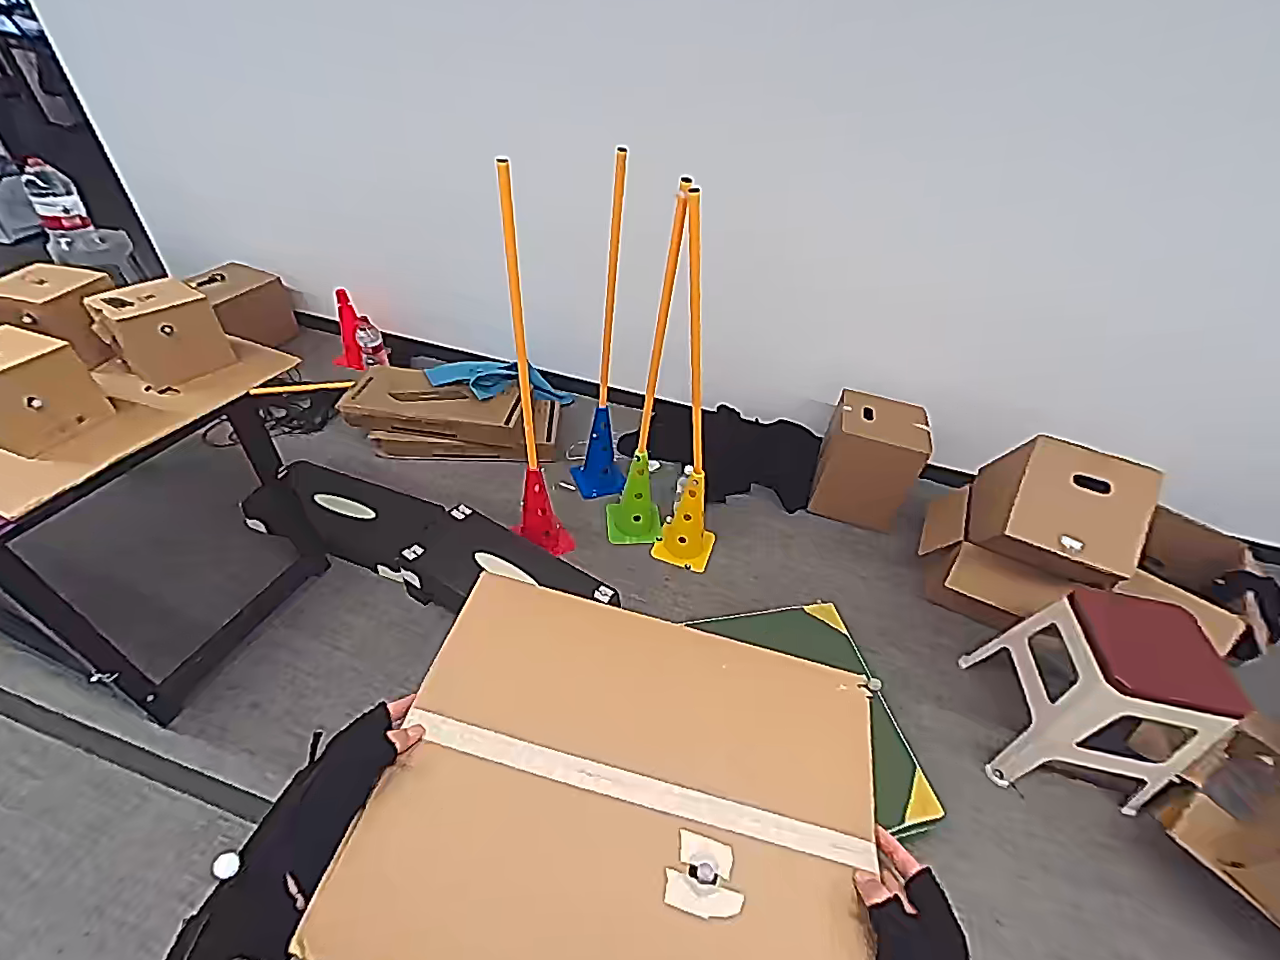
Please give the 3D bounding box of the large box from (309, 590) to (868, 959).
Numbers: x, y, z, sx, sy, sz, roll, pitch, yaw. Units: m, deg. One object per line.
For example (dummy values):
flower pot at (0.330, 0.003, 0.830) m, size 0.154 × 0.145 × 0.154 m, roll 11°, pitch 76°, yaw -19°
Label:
large box at (-0.026, 0.367, 0.569) m, size 0.408 × 0.320 × 0.320 m, roll 15°, pitch 48°, yaw 3°
